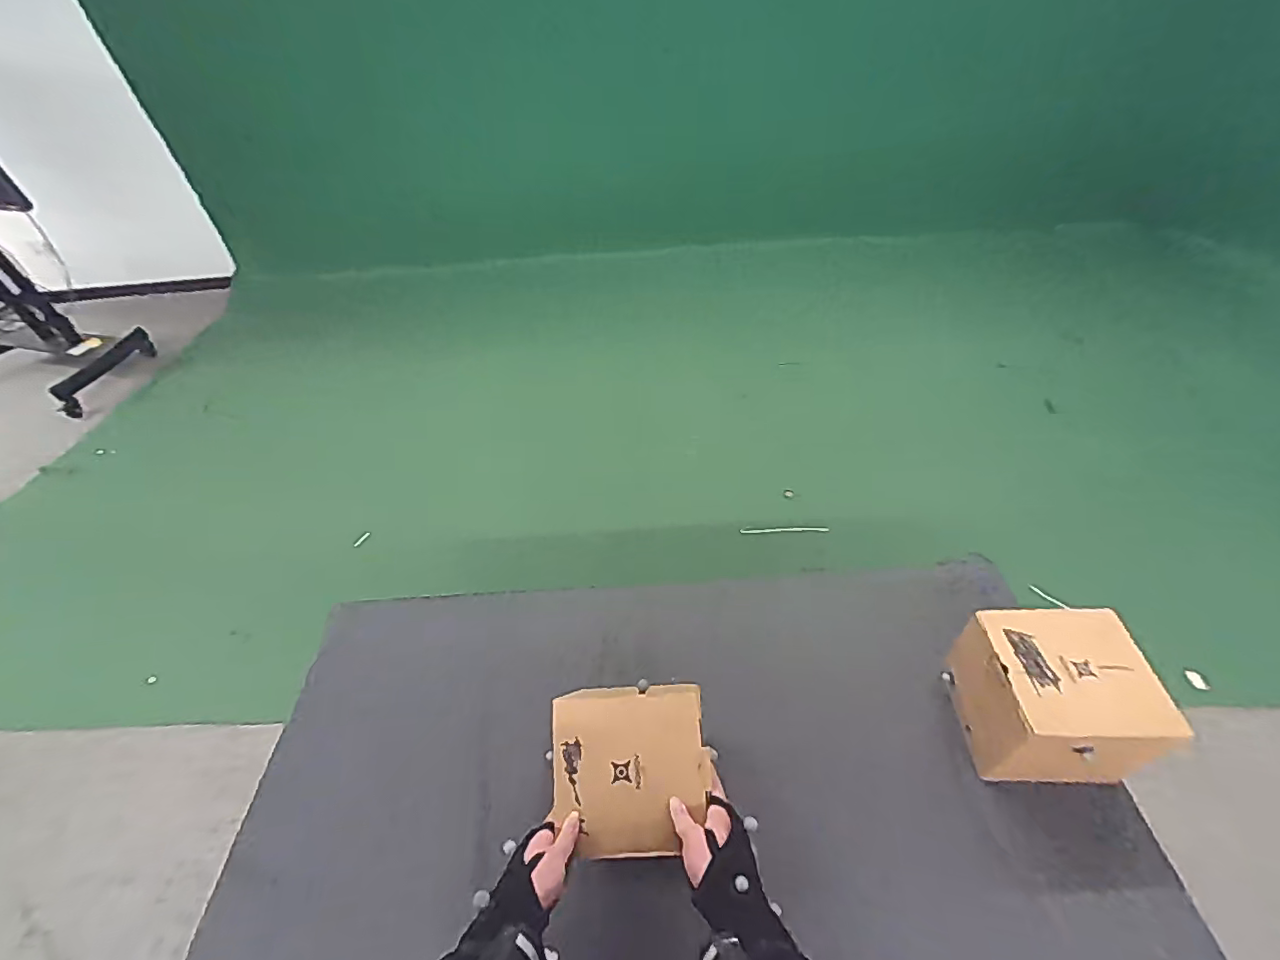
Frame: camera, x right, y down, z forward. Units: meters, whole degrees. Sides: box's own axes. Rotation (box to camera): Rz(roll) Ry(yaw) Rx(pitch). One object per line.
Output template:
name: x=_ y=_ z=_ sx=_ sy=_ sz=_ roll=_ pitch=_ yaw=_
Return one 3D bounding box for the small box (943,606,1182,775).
small box: x=0.543 y=0.288 z=0.735 sx=0.179 sy=0.176 sz=0.168 roll=-1 pitch=45 yaw=2

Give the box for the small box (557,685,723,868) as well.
small box: x=-0.002 y=0.349 z=0.667 sx=0.179 sy=0.176 sz=0.168 roll=-4 pitch=72 yaw=1
